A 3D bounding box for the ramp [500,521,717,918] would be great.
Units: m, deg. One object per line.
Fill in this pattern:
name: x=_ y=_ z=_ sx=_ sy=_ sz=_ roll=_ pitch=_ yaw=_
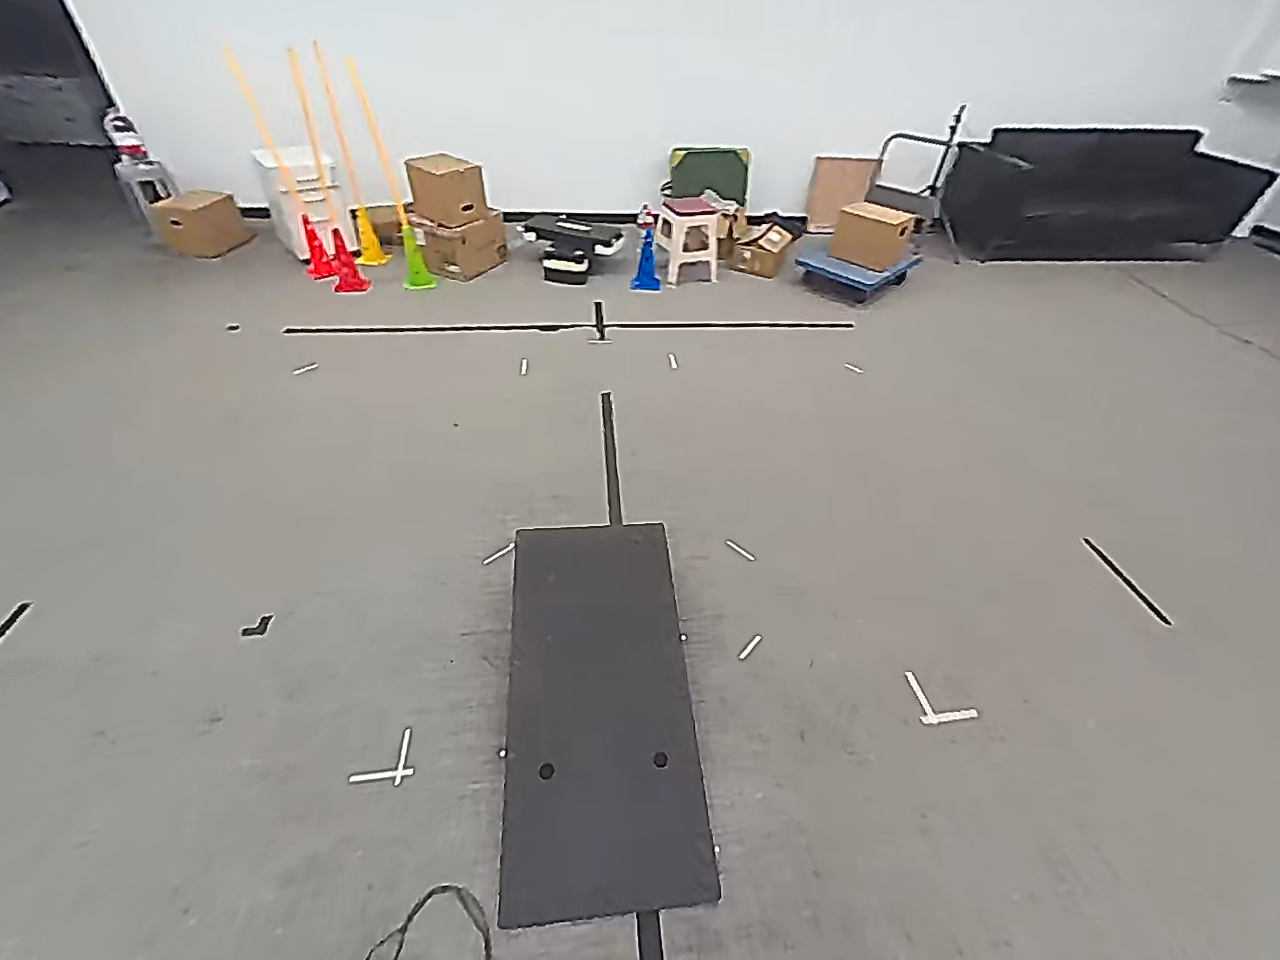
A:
ramp: x=-0.109 y=0.545 z=1.492 sx=0.509 sy=0.206 sz=0.991 roll=-2 pitch=43 yaw=-8
